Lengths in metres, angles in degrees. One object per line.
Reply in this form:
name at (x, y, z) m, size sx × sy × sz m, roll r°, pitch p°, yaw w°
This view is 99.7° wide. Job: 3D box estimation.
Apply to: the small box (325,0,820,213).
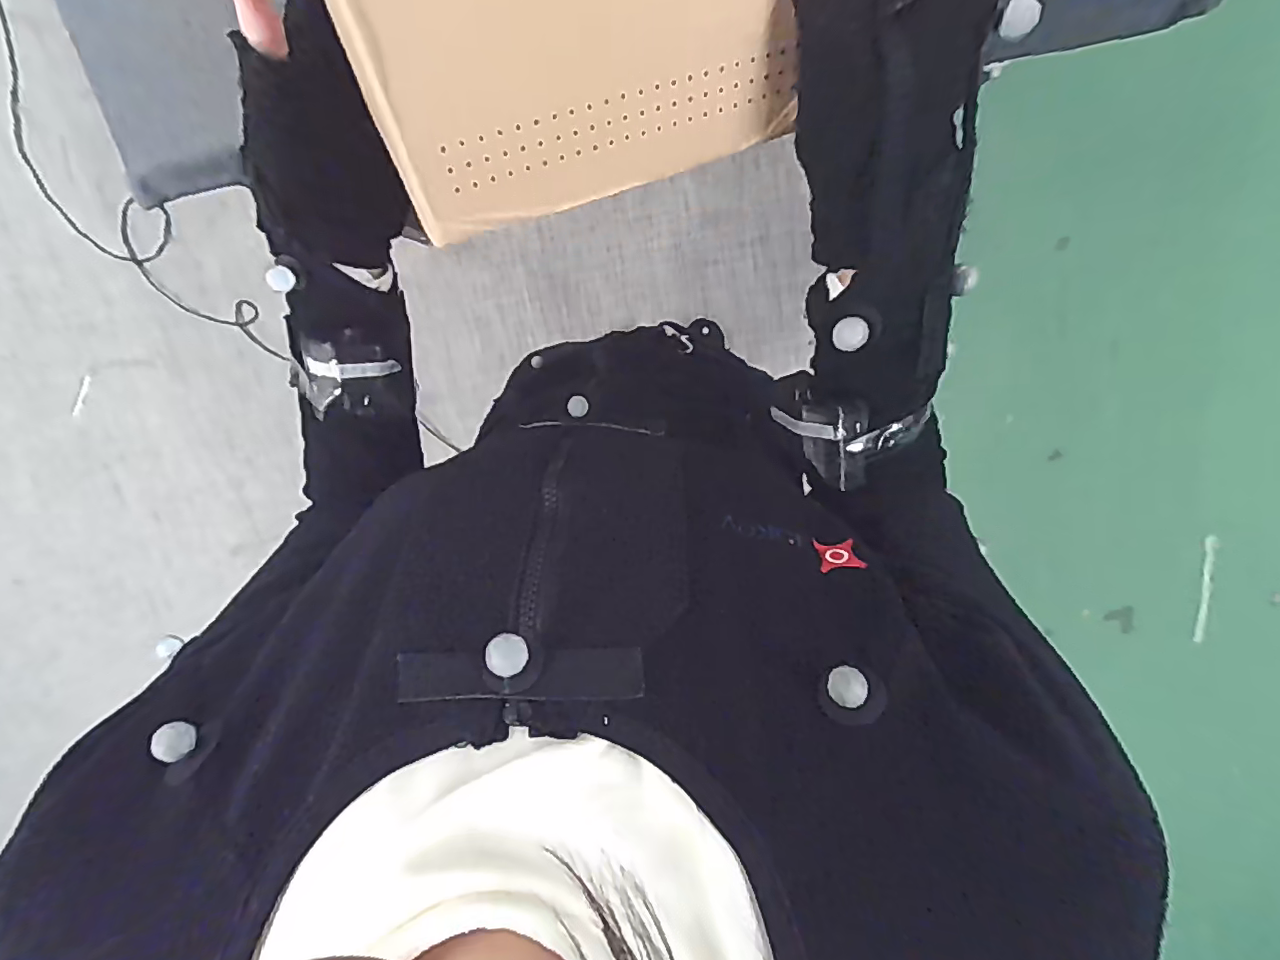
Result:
small box at (-0.039, -0.226, 0.196) m, size 0.179 × 0.168 × 0.176 m, roll -24°, pitch 147°, yaw -14°
